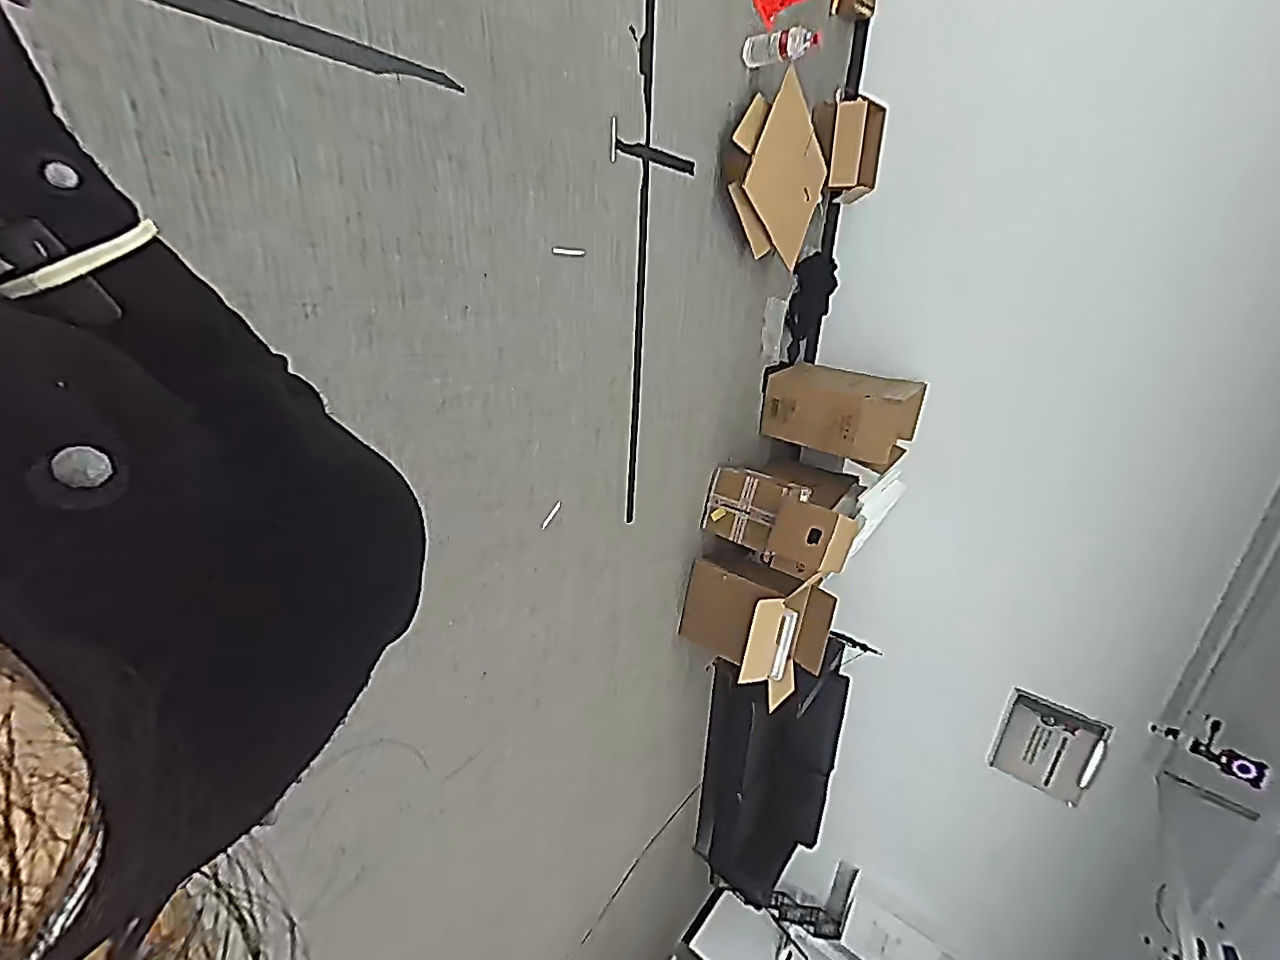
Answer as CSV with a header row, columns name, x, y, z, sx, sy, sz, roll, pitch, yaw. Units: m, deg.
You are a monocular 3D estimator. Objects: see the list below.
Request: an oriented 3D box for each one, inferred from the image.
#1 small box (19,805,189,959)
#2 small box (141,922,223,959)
name,x,y,z,sx,sy,sz,roll,pitch,yaw
small box,-0.981,0.752,0.995,0.179,0.176,0.168,-22,121,-47
small box,-0.723,0.838,0.810,0.179,0.176,0.168,-18,119,-49
